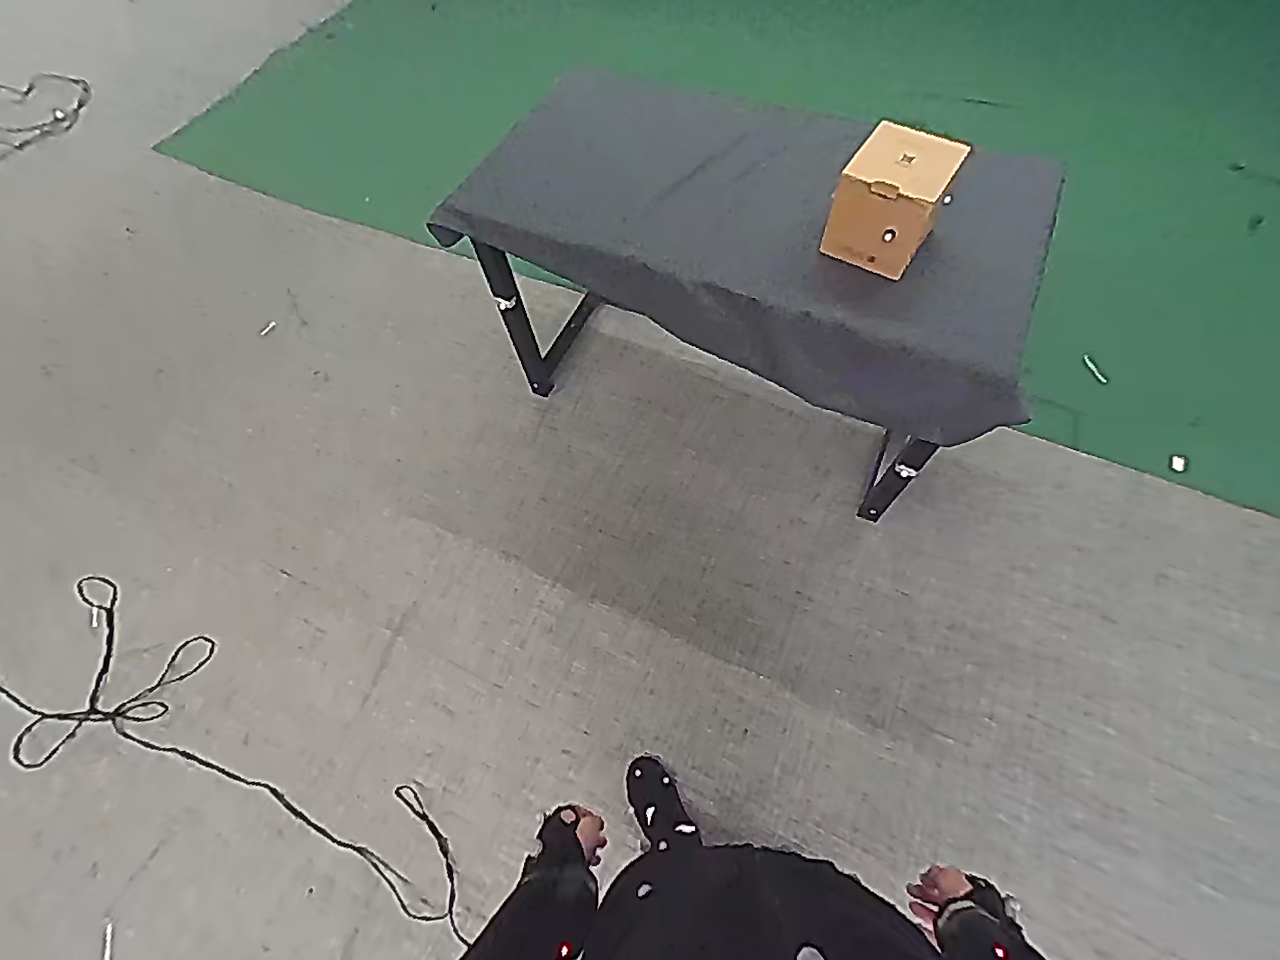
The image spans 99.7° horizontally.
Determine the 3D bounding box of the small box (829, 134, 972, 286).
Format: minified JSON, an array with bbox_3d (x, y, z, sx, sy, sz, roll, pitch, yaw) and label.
[{"bbox_3d":[0.480,-0.504,1.023,0.168,0.176,0.179,31,67,17],"label":"small box"}]
